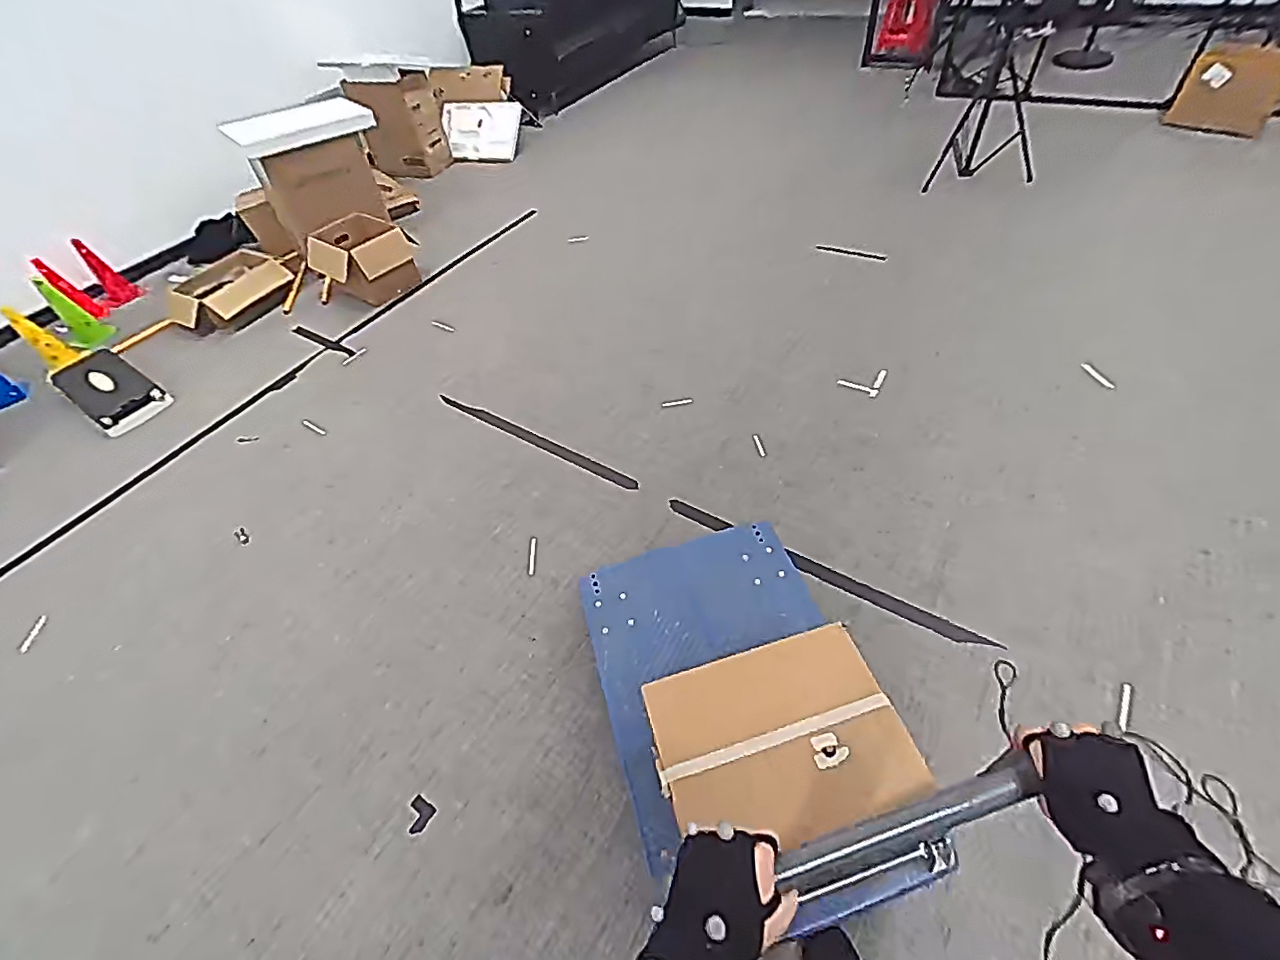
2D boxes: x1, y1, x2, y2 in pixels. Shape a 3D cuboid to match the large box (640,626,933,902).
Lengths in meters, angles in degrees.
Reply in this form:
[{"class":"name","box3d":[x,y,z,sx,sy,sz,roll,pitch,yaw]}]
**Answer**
[{"class":"large box","box3d":[0.242,0.537,1.025,0.408,0.320,0.320,-15,50,-7]}]
